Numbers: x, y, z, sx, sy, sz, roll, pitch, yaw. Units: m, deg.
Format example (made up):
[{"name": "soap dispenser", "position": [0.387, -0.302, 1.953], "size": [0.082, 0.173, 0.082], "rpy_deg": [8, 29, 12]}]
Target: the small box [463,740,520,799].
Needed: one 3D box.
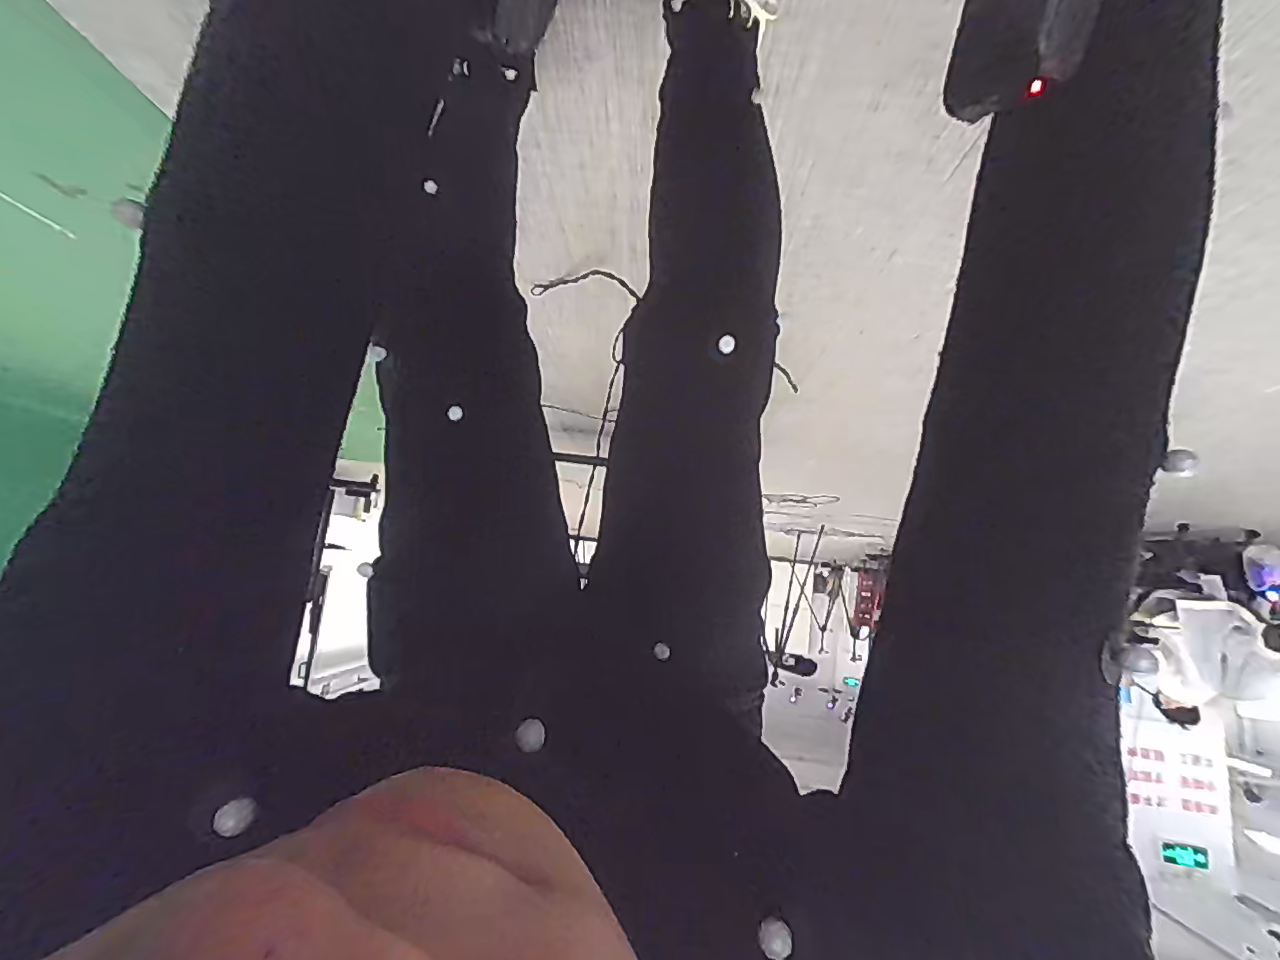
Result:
[{"name": "small box", "position": [-0.626, 1.218, 2.289], "size": [0.179, 0.176, 0.168], "rpy_deg": [6, 171, 5]}]
